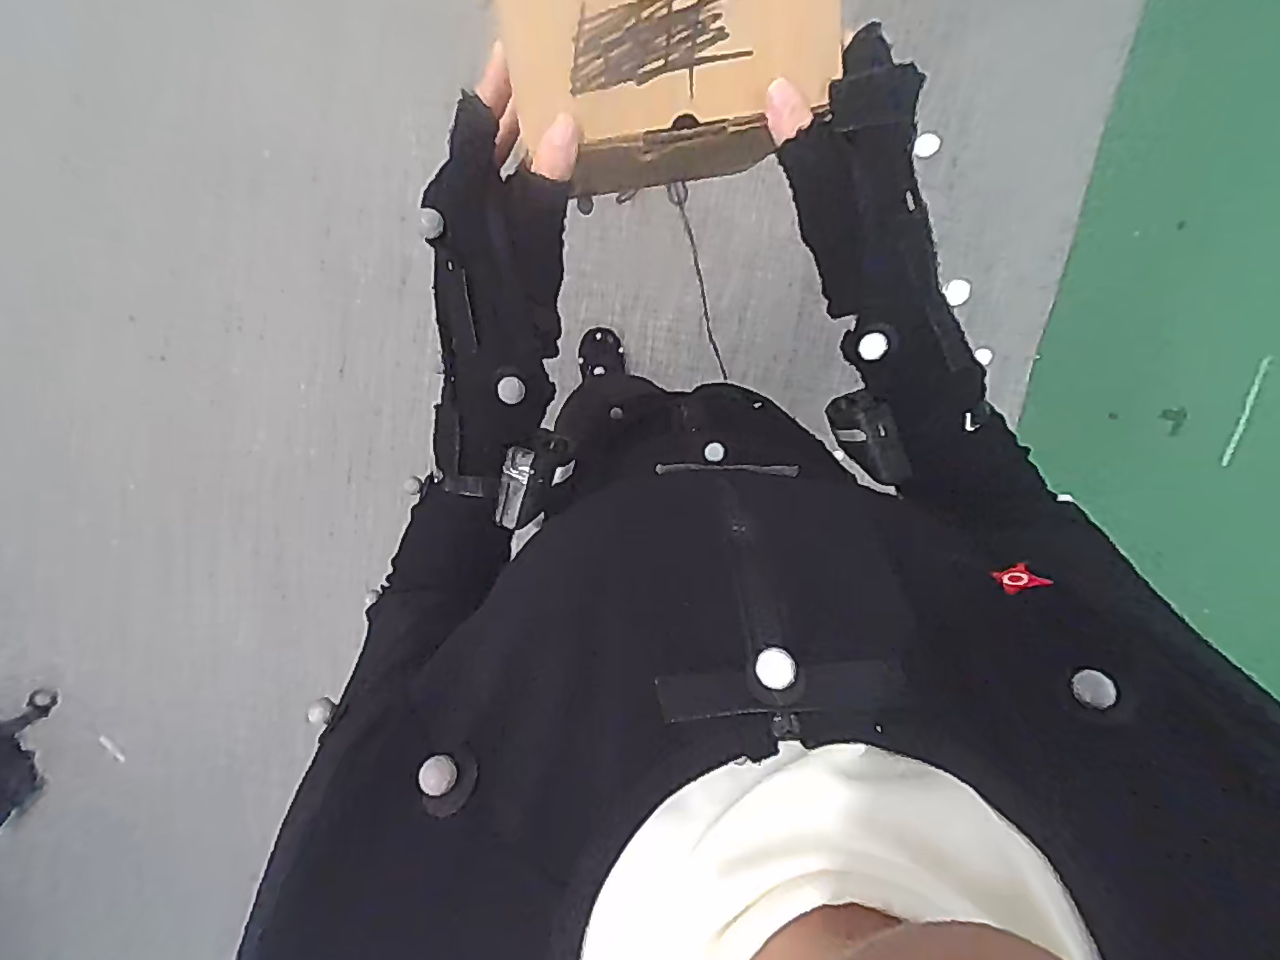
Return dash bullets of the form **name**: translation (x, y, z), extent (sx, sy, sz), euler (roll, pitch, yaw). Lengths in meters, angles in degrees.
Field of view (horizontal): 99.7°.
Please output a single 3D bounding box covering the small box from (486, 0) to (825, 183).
- **small box**: translation (-0.003, -0.291, 0.322), extent (0.168, 0.176, 0.179), euler (-10, 109, -3)
